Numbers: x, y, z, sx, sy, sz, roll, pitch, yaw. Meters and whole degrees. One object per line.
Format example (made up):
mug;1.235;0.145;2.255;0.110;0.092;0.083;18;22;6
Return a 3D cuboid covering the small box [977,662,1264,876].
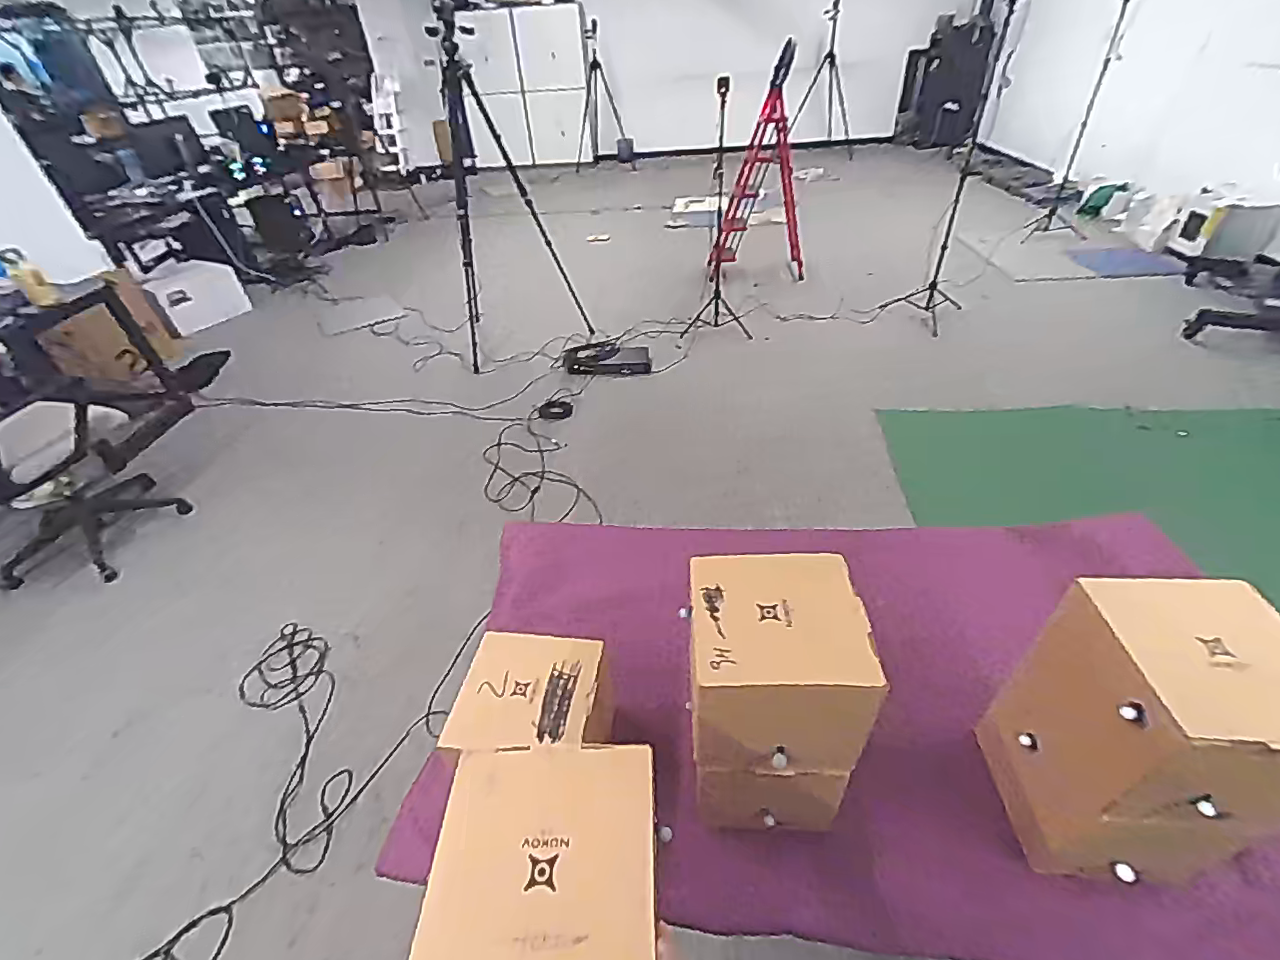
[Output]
small box;0.548;0.346;0.656;0.168;0.176;0.179;0;40;5

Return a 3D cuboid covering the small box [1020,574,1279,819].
small box;0.539;0.218;0.557;0.168;0.176;0.179;-1;40;5

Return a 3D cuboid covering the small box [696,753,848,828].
small box;0.157;0.327;0.713;0.168;0.176;0.179;-1;39;4

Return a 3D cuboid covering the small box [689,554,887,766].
small box;0.146;0.201;0.609;0.179;0.176;0.168;-1;37;3
